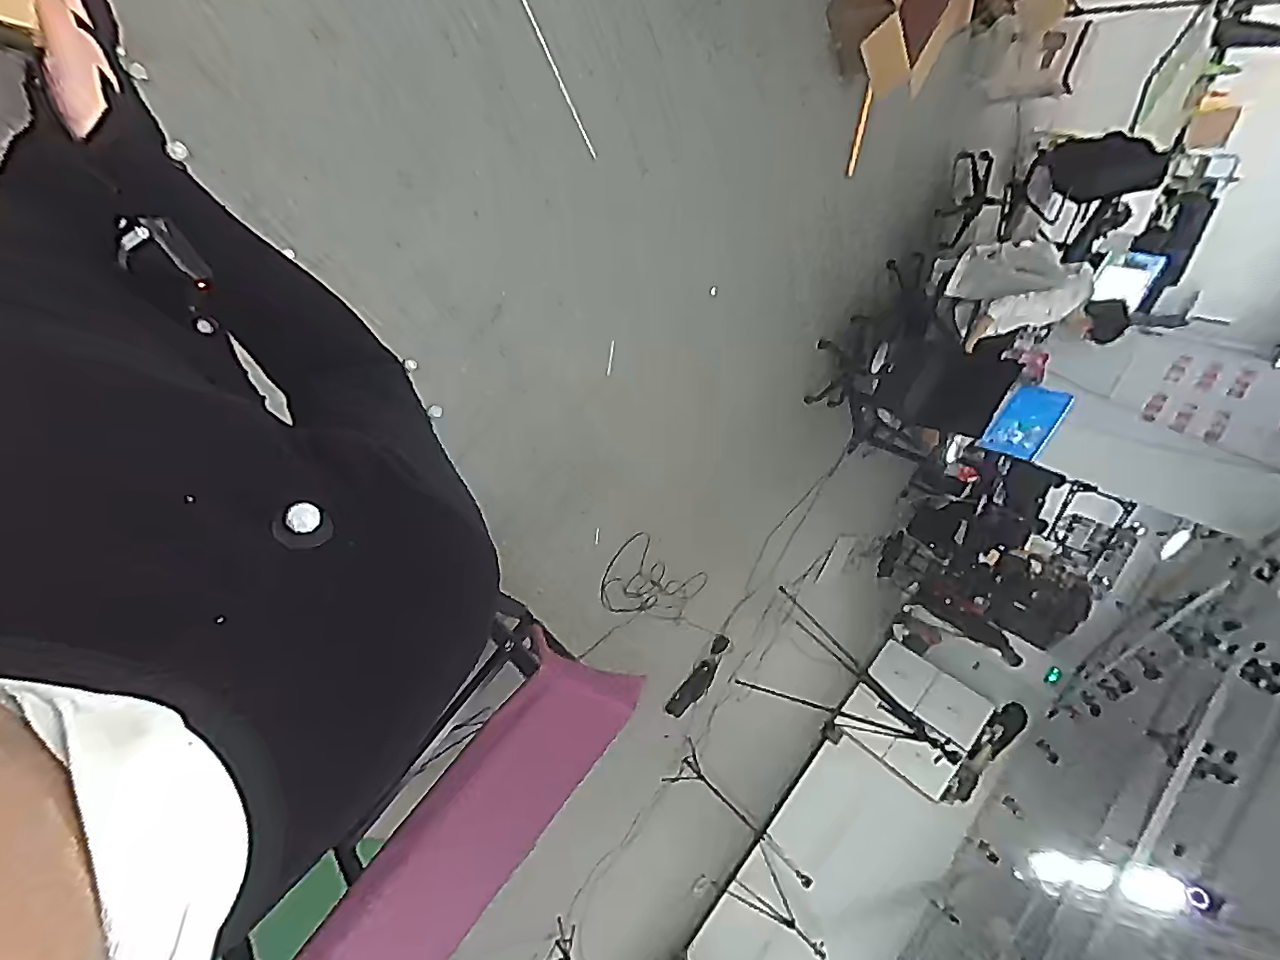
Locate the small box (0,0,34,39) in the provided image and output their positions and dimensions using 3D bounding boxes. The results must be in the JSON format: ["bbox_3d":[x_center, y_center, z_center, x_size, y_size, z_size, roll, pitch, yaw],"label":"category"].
[{"bbox_3d":[-0.561,-0.449,0.381,0.168,0.176,0.179,-10,122,-46],"label":"small box"}]
